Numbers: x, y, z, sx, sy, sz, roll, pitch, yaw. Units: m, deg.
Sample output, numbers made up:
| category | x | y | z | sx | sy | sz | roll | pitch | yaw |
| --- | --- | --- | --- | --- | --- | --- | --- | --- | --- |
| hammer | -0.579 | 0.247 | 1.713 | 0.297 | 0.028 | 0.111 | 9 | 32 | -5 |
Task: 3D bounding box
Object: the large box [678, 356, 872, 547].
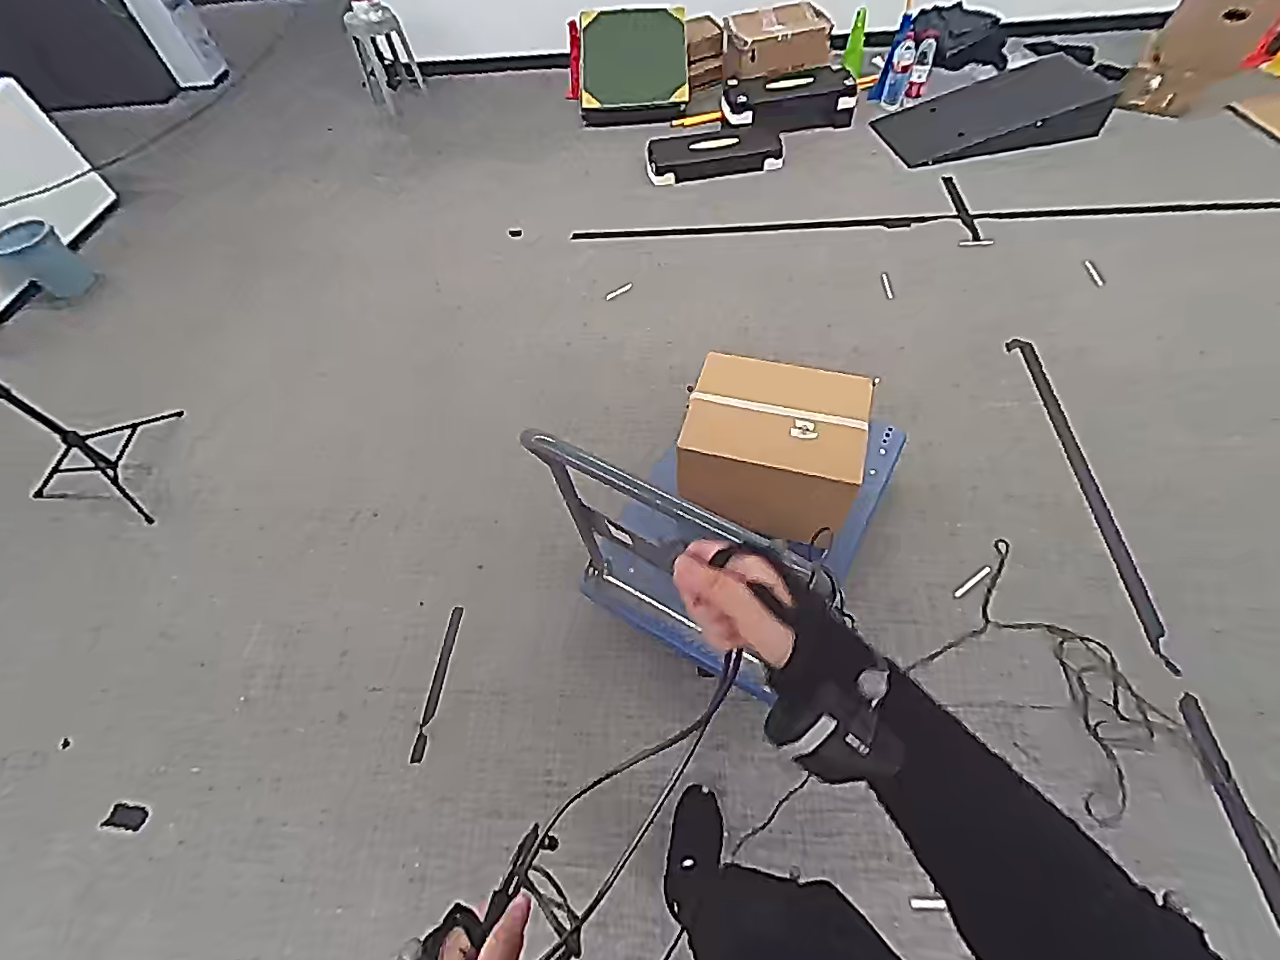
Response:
| category | x | y | z | sx | sy | sz | roll | pitch | yaw |
| --- | --- | --- | --- | --- | --- | --- | --- | --- | --- |
| large box | 0.322 | -0.069 | 1.361 | 0.408 | 0.320 | 0.320 | 13 | 60 | 13 |
